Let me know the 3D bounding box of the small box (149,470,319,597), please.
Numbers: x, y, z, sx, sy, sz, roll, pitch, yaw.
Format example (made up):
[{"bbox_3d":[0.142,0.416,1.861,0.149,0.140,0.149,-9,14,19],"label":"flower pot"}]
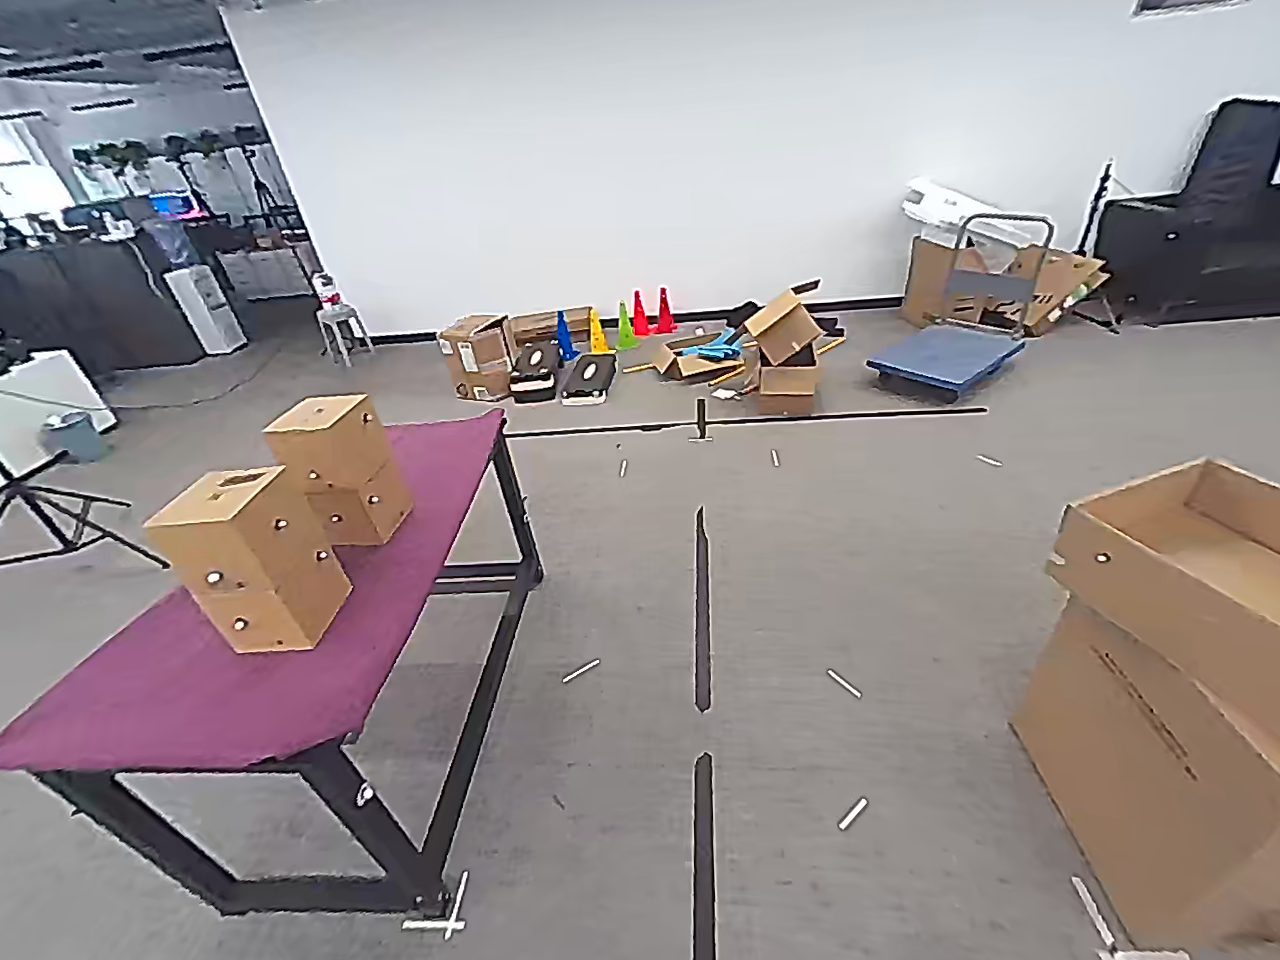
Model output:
[{"bbox_3d":[-0.747,0.100,1.026,0.168,0.176,0.179,-5,33,4],"label":"small box"}]

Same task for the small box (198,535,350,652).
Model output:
[{"bbox_3d":[-0.735,0.238,1.115,0.168,0.176,0.179,-5,33,4],"label":"small box"}]

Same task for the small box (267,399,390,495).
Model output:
[{"bbox_3d":[-0.724,-0.079,1.286,0.168,0.176,0.179,-2,34,9],"label":"small box"}]
